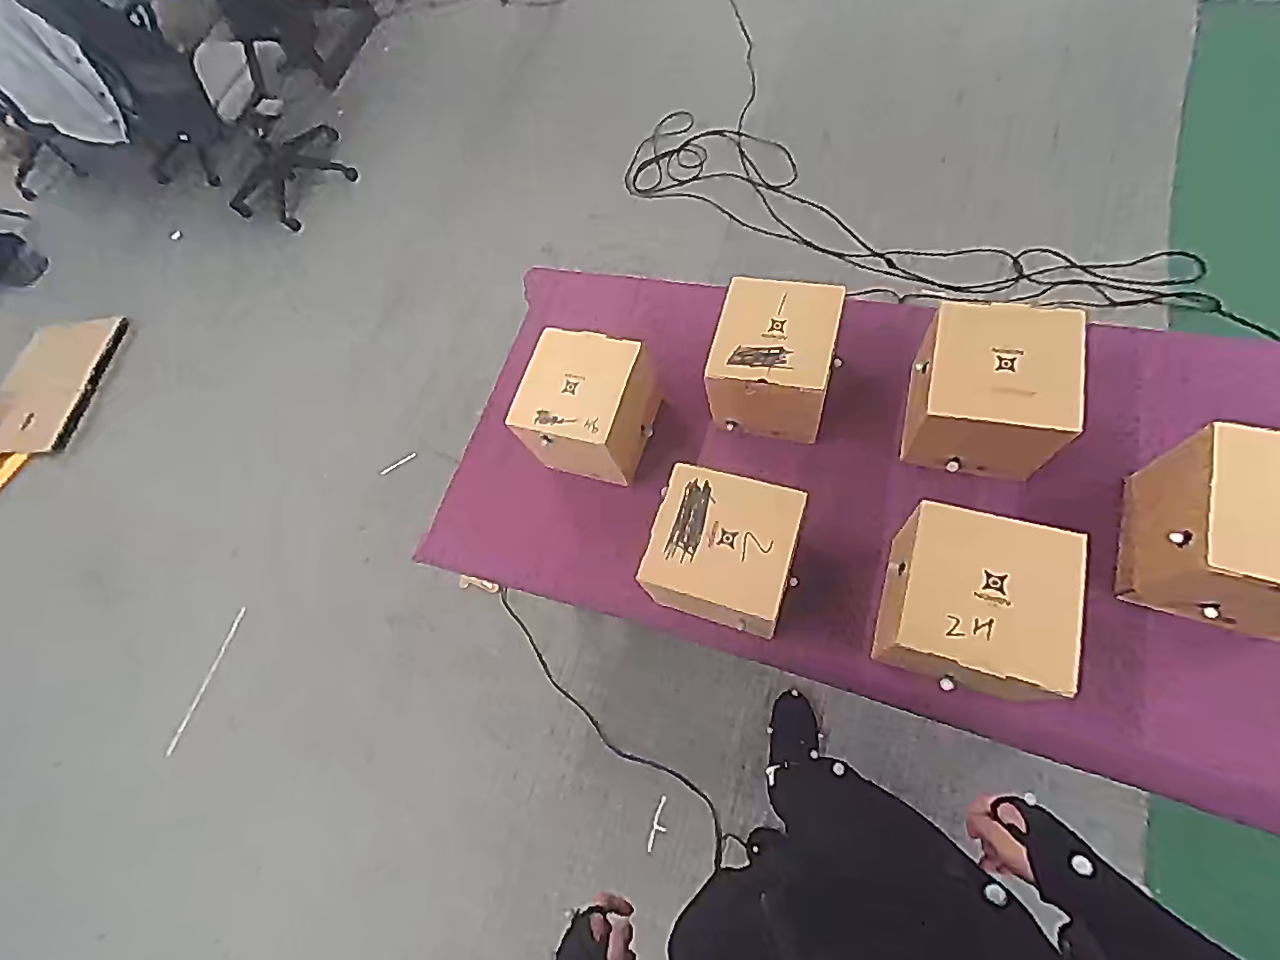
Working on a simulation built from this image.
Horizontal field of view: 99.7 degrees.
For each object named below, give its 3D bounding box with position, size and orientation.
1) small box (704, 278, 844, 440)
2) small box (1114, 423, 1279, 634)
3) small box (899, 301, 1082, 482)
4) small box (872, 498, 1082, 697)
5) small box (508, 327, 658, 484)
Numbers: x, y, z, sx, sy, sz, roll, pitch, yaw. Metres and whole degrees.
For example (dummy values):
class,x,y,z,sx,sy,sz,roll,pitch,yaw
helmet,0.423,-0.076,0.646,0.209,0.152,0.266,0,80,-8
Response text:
class,x,y,z,sx,sy,sz,roll,pitch,yaw
small box,0.207,-0.180,0.834,0.168,0.176,0.179,12,71,17
small box,0.692,0.062,0.622,0.168,0.176,0.179,15,73,19
small box,0.470,-0.118,0.748,0.168,0.176,0.179,11,72,18
small box,0.393,0.147,0.656,0.168,0.176,0.179,14,71,19
small box,-0.079,-0.117,0.874,0.168,0.176,0.179,13,72,19
